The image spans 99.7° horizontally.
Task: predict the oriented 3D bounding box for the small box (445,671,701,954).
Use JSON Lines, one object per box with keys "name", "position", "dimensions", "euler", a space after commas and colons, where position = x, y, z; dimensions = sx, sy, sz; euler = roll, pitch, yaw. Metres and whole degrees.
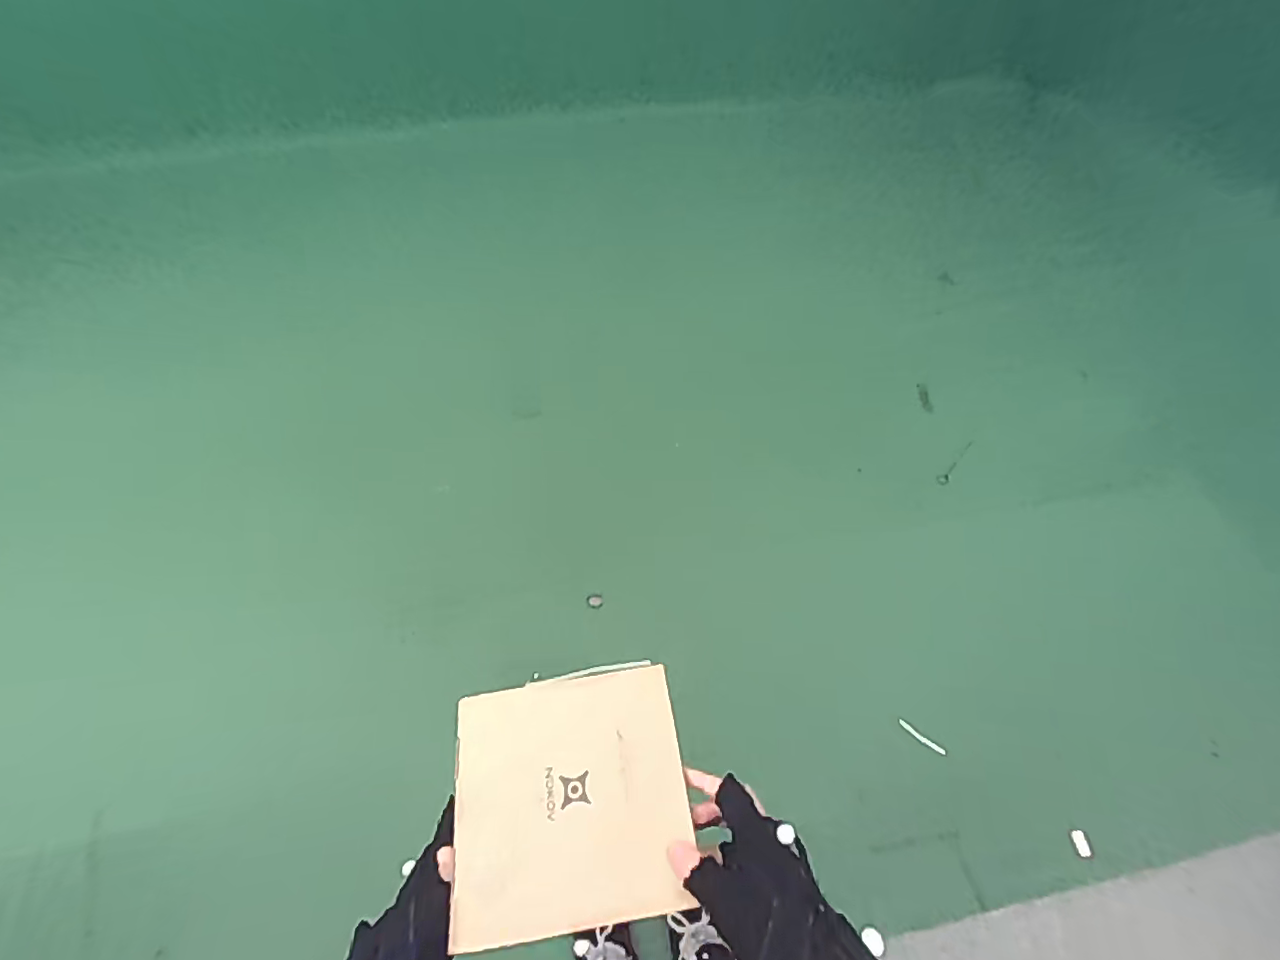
{"name": "small box", "position": [-0.048, 0.285, 0.467], "dimensions": [0.179, 0.176, 0.168], "euler": [-9, 53, -2]}
